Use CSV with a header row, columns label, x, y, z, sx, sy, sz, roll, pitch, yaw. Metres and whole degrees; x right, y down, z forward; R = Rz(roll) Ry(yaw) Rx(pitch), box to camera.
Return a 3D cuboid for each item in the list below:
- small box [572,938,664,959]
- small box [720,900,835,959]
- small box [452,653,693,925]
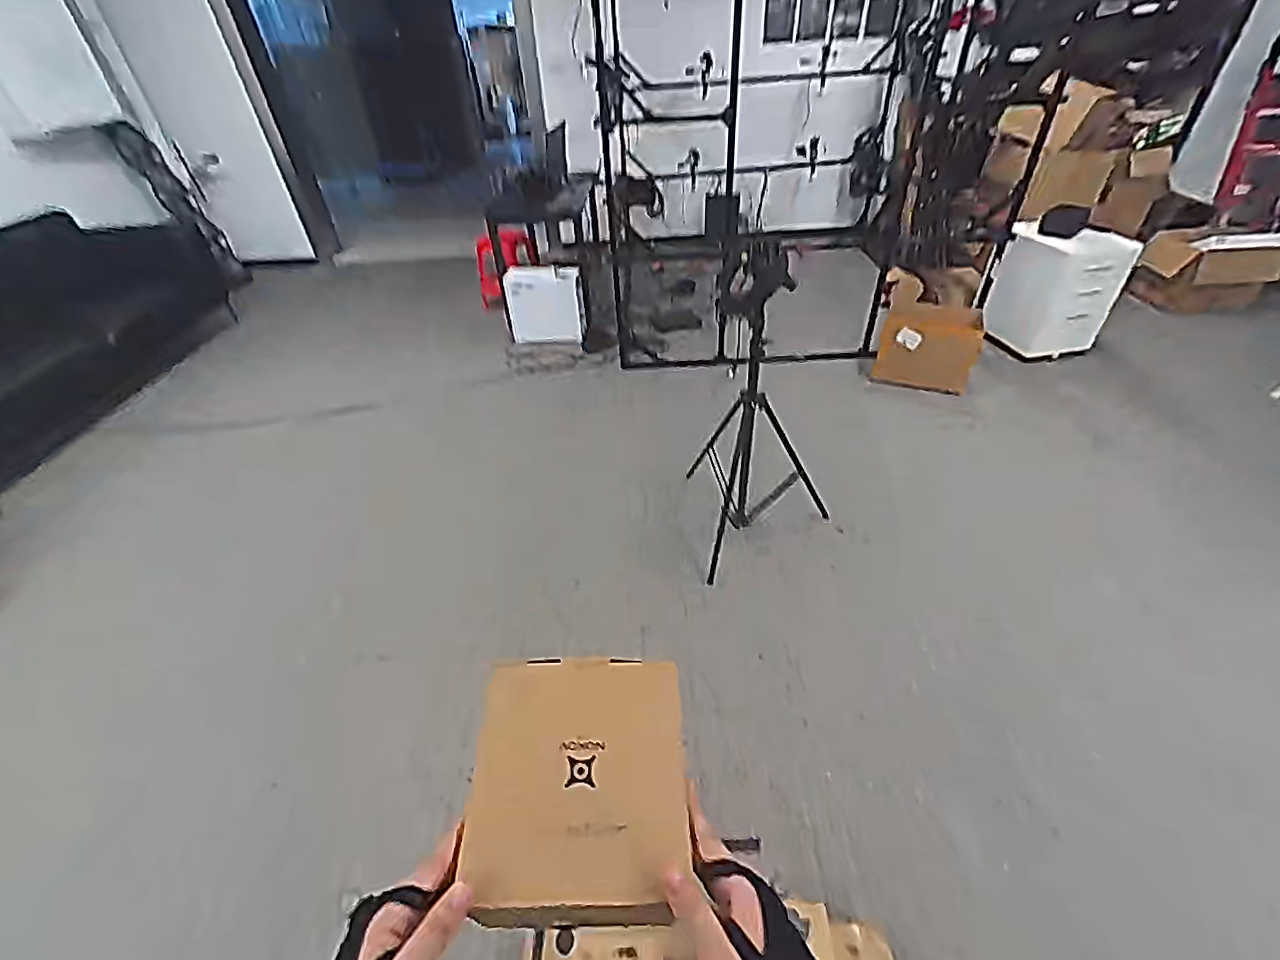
label,x,y,z,sx,sy,sz,roll,pitch,yaw
small box,-0.032,0.945,0.956,0.168,0.176,0.179,-4,39,0
small box,0.217,0.801,0.855,0.168,0.176,0.179,-1,39,4
small box,-0.050,0.273,0.477,0.168,0.176,0.179,2,48,-2
